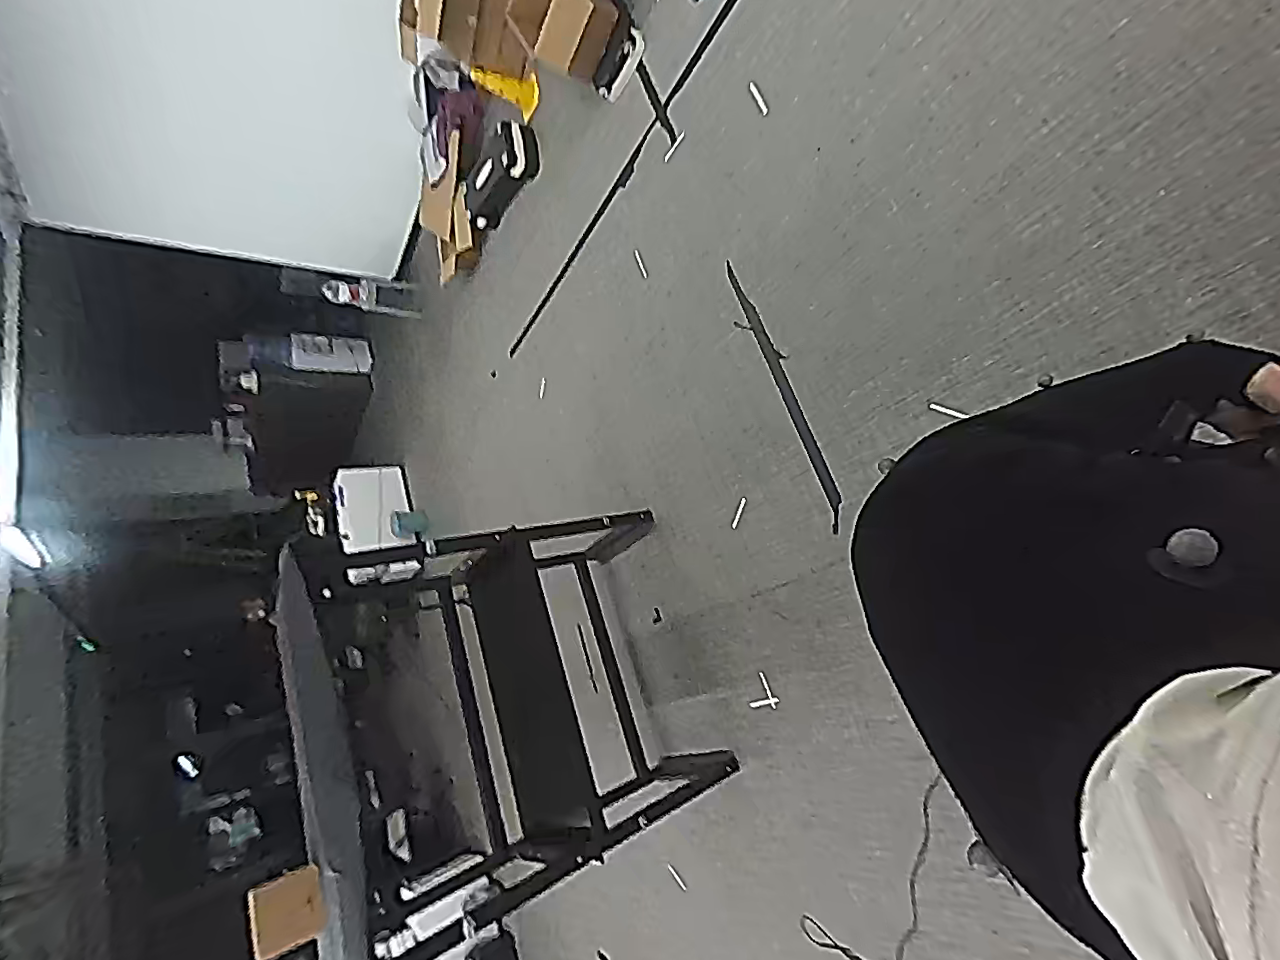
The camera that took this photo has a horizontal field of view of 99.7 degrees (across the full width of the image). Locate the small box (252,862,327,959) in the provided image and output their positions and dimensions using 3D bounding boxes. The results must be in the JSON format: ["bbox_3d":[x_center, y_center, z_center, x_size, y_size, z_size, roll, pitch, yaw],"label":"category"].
[{"bbox_3d":[-1.064,1.291,1.638,0.168,0.176,0.179,-40,63,45],"label":"small box"}]
